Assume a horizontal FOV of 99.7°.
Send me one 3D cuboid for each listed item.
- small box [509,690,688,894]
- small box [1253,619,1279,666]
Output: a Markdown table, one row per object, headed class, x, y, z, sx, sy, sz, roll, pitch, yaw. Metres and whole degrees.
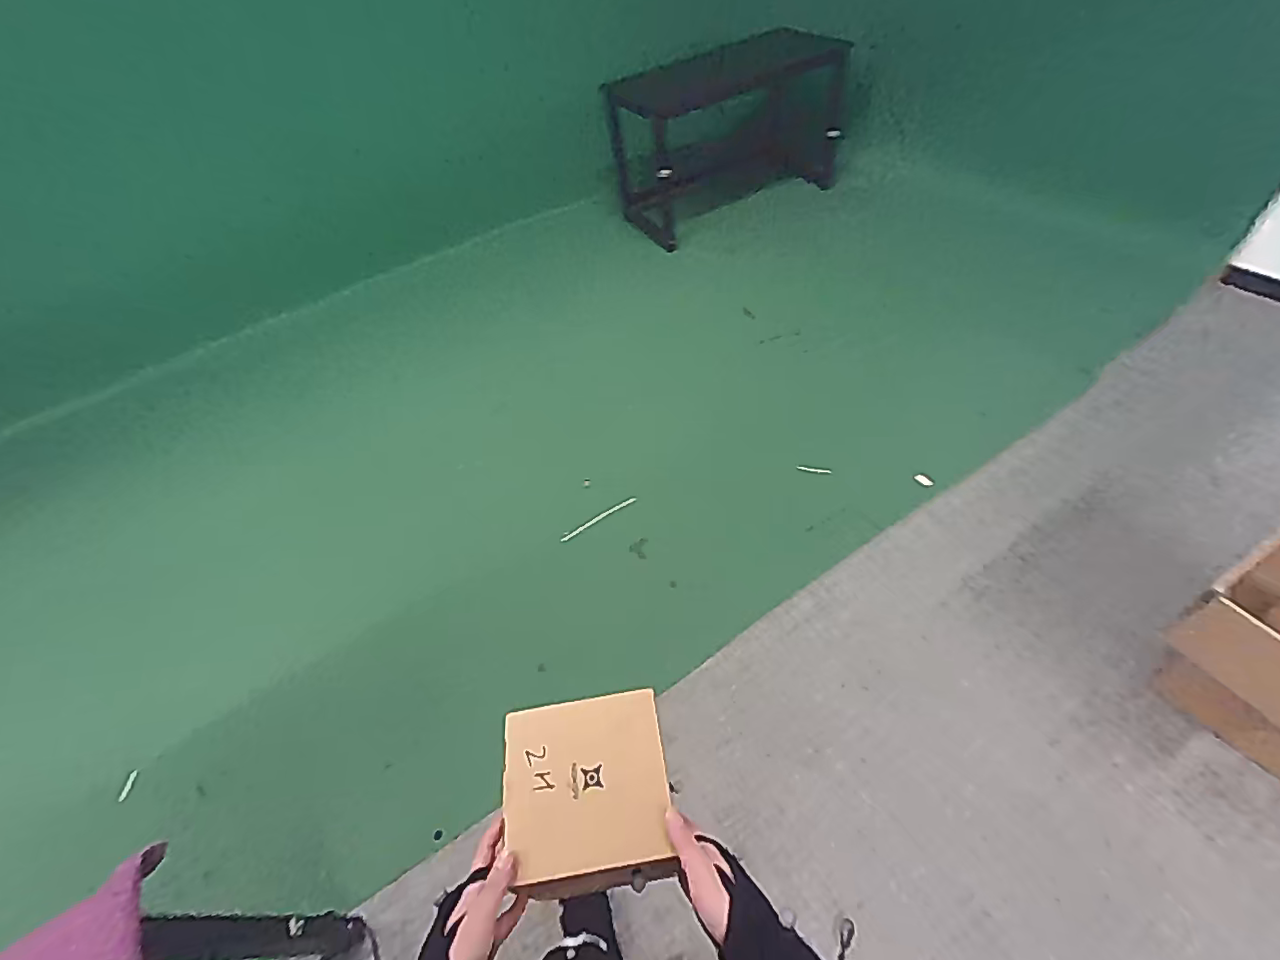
| class | x | y | z | sx | sy | sz | roll | pitch | yaw |
| --- | --- | --- | --- | --- | --- | --- | --- | --- | --- |
| small box | -0.043 | 0.365 | 0.630 | 0.179 | 0.176 | 0.168 | -9 | 49 | -1 |
| small box | 1.308 | 0.295 | 0.980 | 0.168 | 0.176 | 0.179 | -26 | 52 | -13 |
